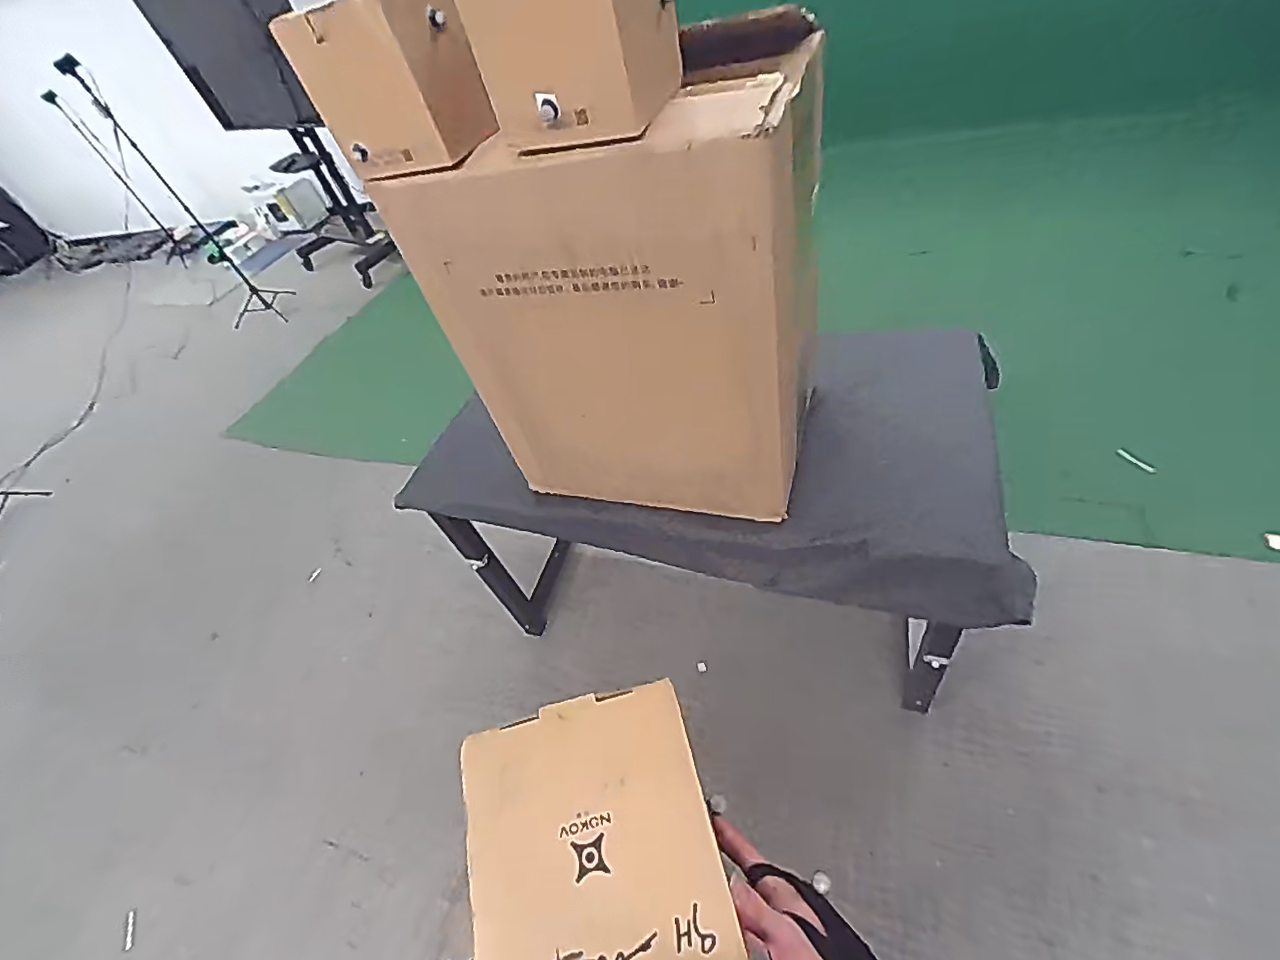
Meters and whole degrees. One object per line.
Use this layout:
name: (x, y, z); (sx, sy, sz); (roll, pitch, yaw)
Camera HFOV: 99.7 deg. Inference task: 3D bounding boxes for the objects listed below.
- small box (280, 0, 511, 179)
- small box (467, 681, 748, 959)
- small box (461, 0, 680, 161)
small box: (-0.284, -0.496, 0.678); (0.168, 0.176, 0.179); (7, 51, 24)
small box: (-0.024, 0.285, 0.432); (0.168, 0.176, 0.179); (-16, 58, -1)
small box: (-0.062, -0.475, 0.588); (0.168, 0.176, 0.179); (6, 52, 23)
